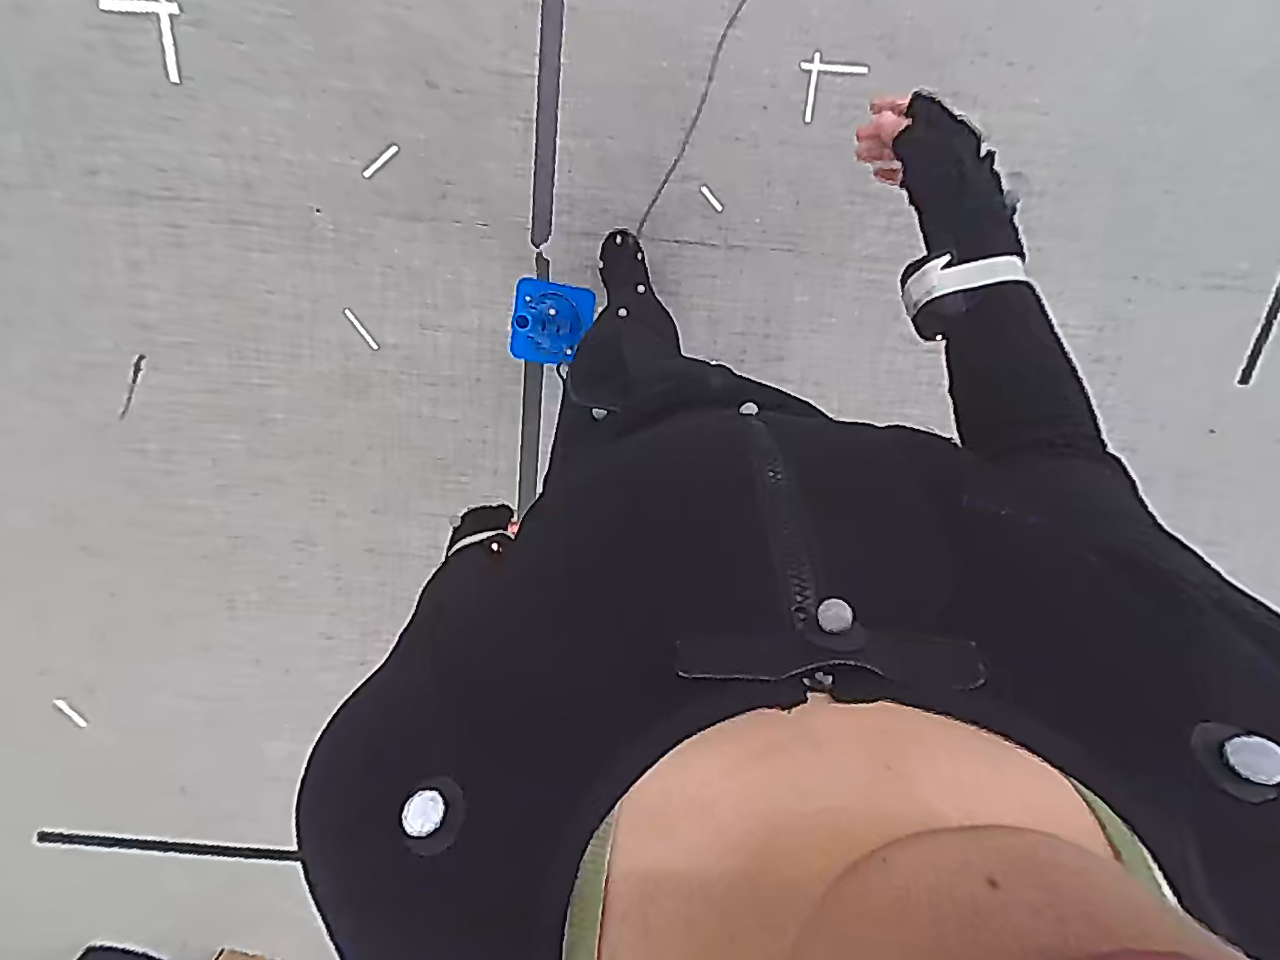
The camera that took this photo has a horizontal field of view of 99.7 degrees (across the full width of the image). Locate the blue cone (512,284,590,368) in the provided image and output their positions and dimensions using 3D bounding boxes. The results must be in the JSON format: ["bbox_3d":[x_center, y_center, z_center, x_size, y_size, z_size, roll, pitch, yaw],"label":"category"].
[{"bbox_3d":[-0.221,-0.341,1.197,0.193,0.380,0.192,8,105,-3],"label":"blue cone"}]
